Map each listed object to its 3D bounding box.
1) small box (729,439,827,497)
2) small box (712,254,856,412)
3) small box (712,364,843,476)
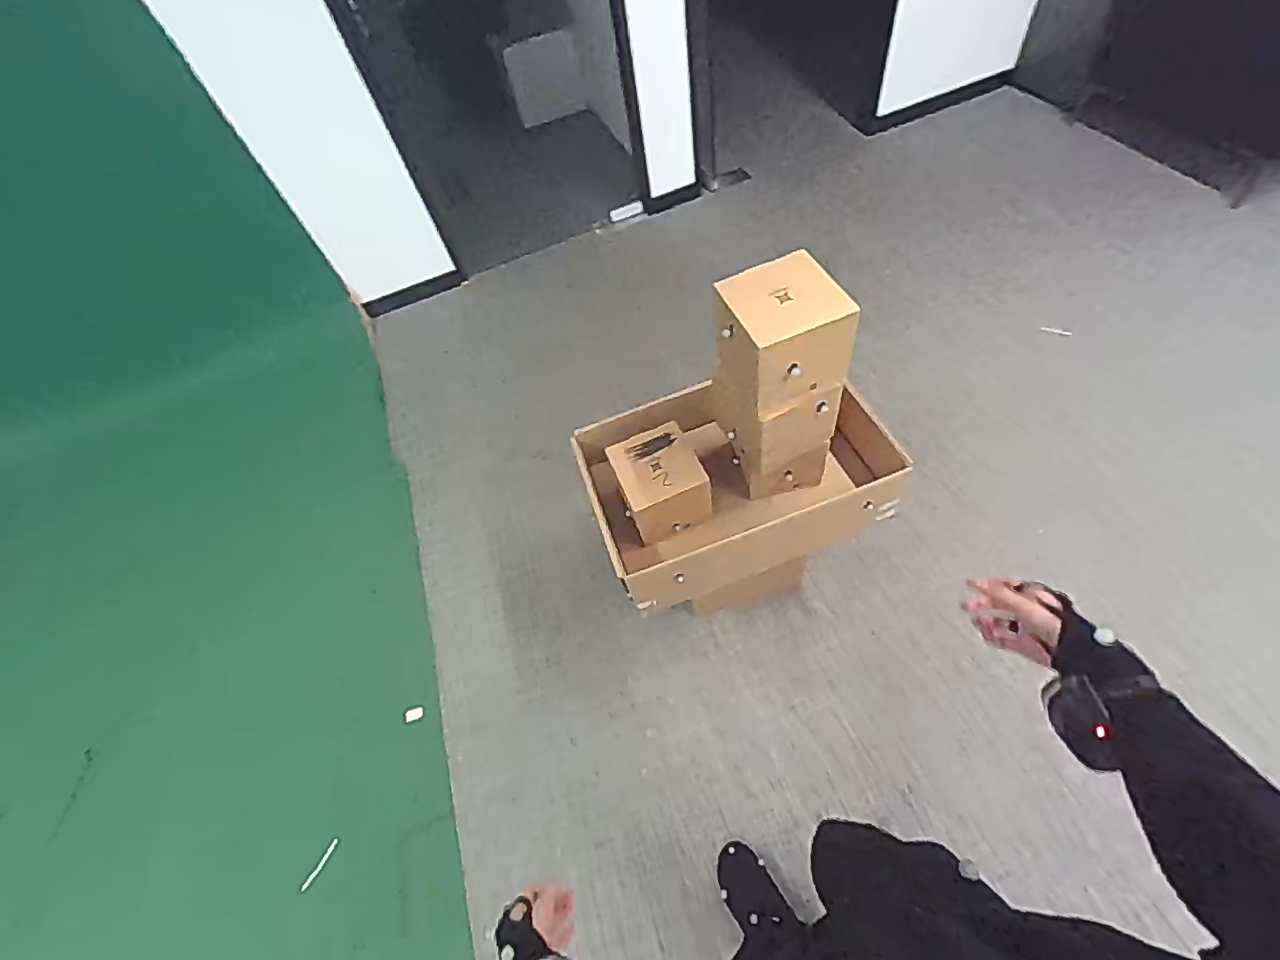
[{"bbox_3d":[0.293,-0.078,1.186,0.168,0.176,0.179,-12,57,2],"label":"small box"},{"bbox_3d":[0.234,-0.237,0.907,0.168,0.176,0.179,-21,55,-3],"label":"small box"},{"bbox_3d":[0.255,-0.141,1.036,0.179,0.176,0.168,-28,55,-7],"label":"small box"}]
